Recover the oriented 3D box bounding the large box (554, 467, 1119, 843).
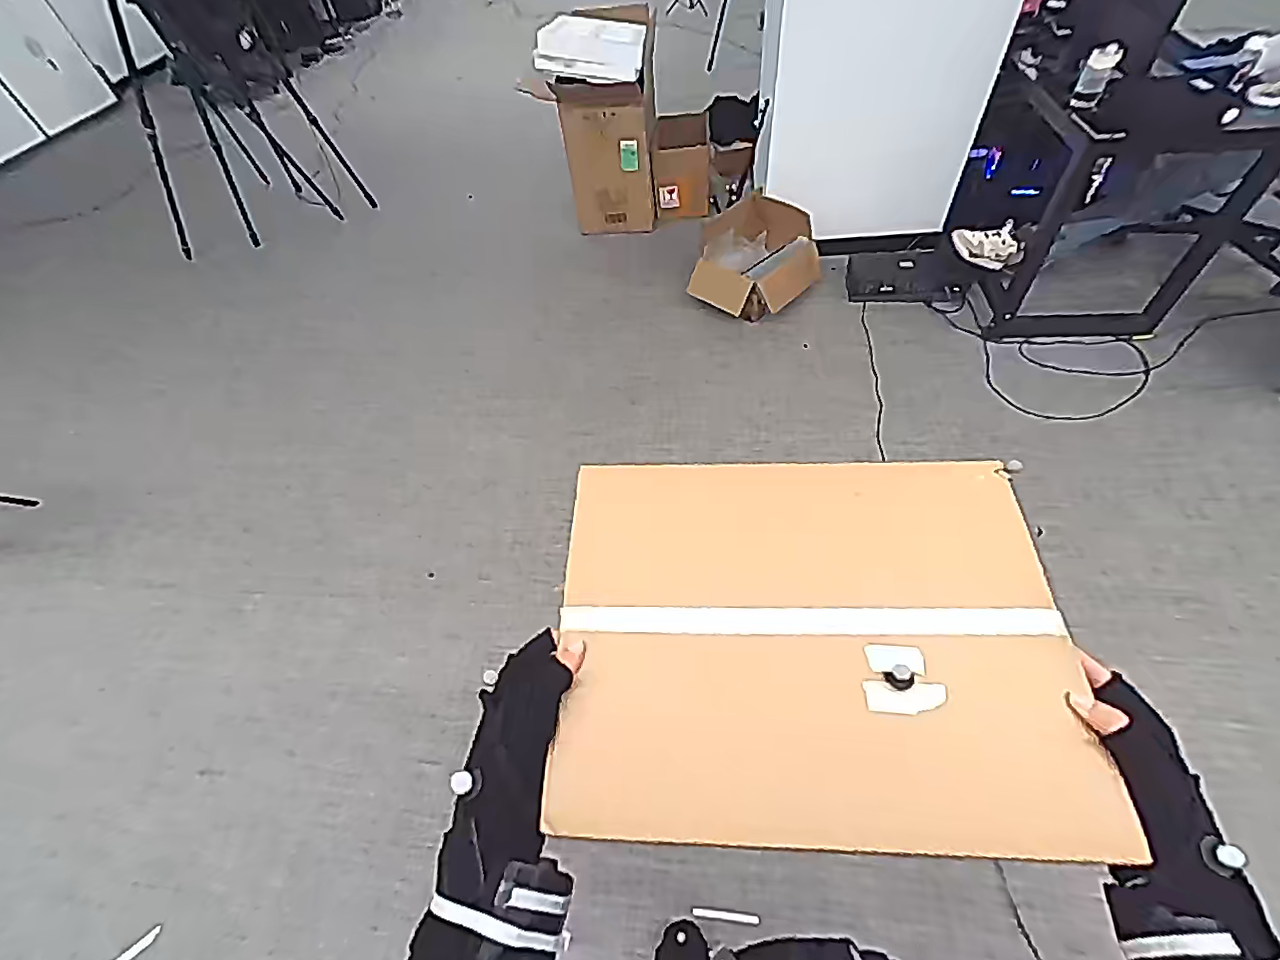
[{"bbox_3d":[0.145,0.201,0.587,0.408,0.320,0.320,-1,58,5],"label":"large box"}]
